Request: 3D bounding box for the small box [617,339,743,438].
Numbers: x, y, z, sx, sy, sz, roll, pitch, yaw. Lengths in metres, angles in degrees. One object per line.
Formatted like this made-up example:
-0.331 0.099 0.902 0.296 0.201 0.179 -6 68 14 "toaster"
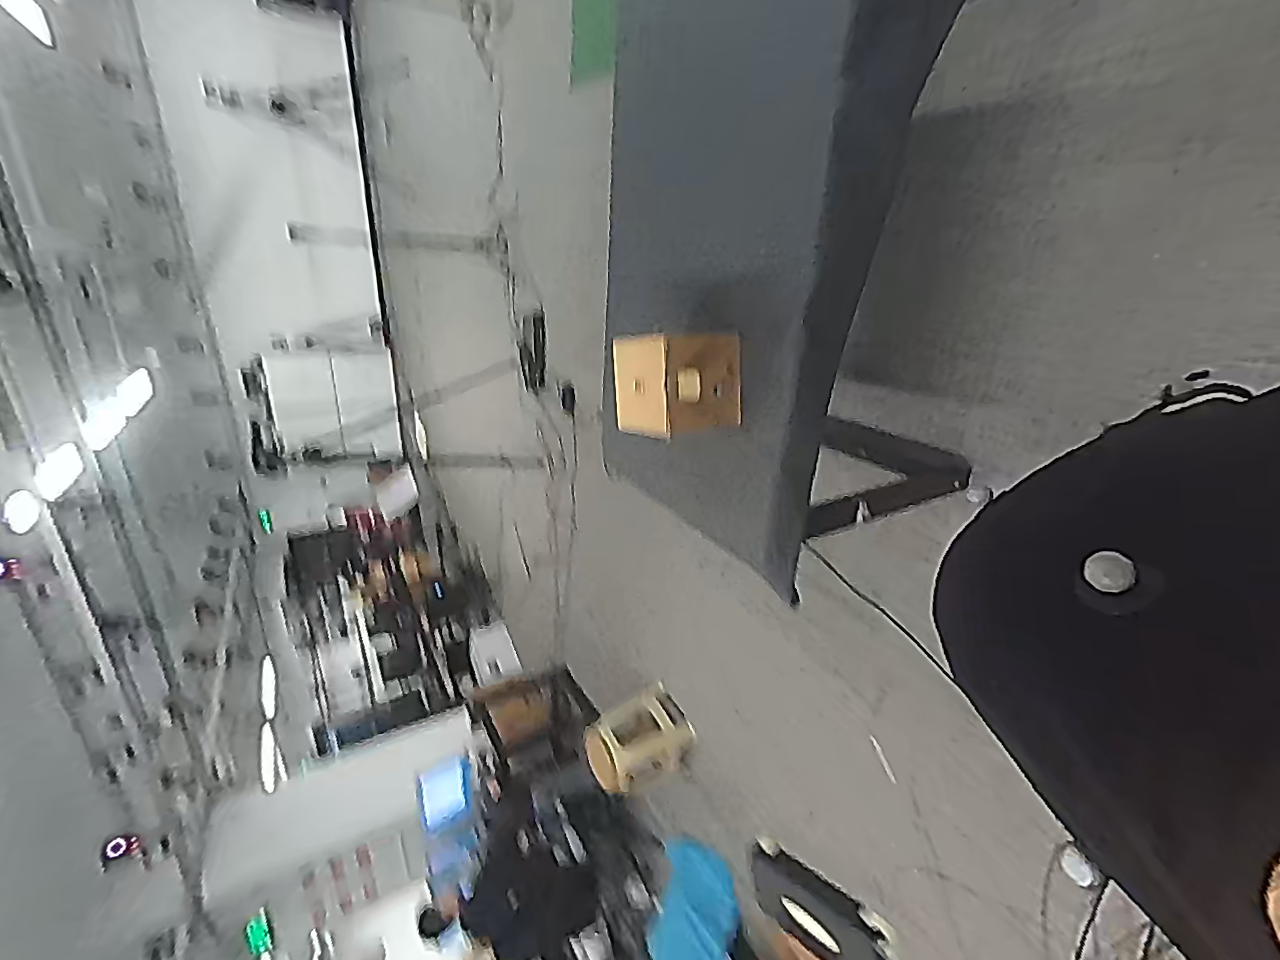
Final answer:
0.073 -0.175 1.017 0.179 0.176 0.168 15 111 57 "small box"
